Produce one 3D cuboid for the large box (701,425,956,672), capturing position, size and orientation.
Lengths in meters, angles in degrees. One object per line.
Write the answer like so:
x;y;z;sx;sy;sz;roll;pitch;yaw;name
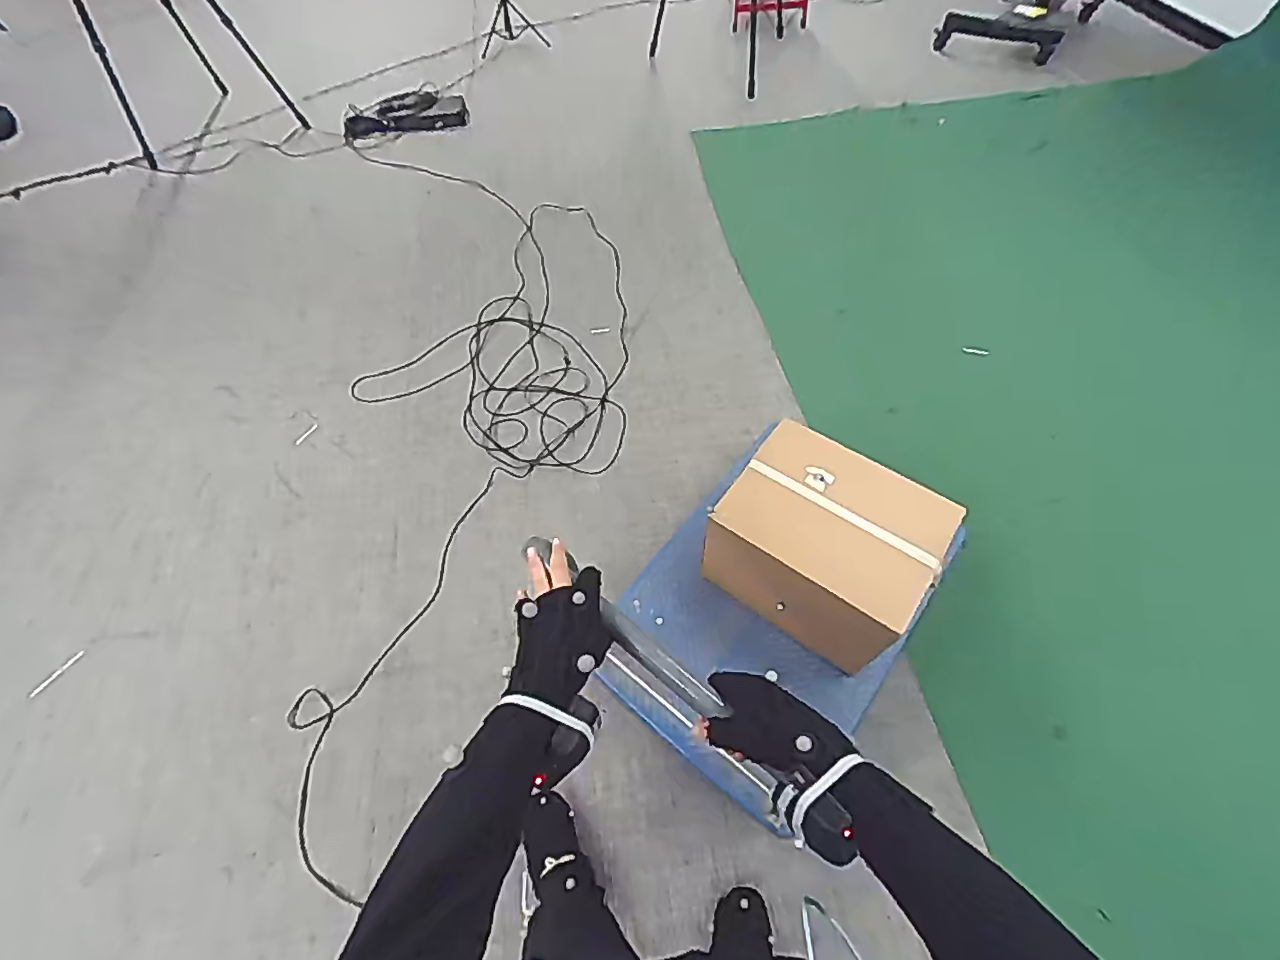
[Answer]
0.387;0.153;1.199;0.408;0.320;0.320;31;63;21;large box
